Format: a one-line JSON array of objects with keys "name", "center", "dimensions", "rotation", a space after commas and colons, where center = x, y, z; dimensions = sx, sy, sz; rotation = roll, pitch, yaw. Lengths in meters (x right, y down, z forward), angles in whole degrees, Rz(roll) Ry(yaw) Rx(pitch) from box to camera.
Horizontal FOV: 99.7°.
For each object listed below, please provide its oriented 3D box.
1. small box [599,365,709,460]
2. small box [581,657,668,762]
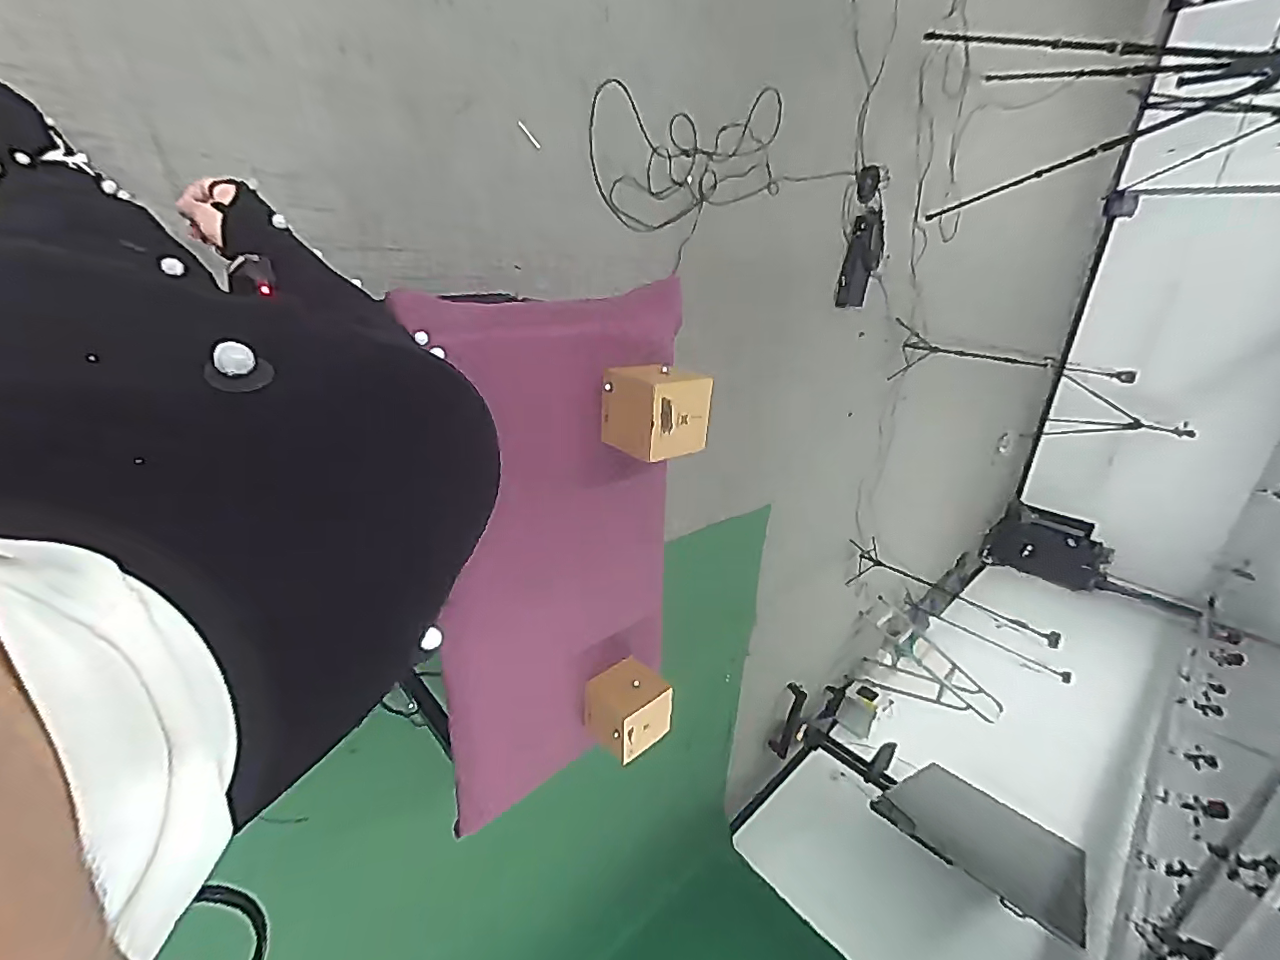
[{"name": "small box", "center": [0.026, -0.157, 1.195], "dimensions": [0.179, 0.176, 0.168], "rotation": [-15, 119, -40]}, {"name": "small box", "center": [-0.043, 0.624, 1.497], "dimensions": [0.179, 0.176, 0.168], "rotation": [-20, 121, -40]}]
